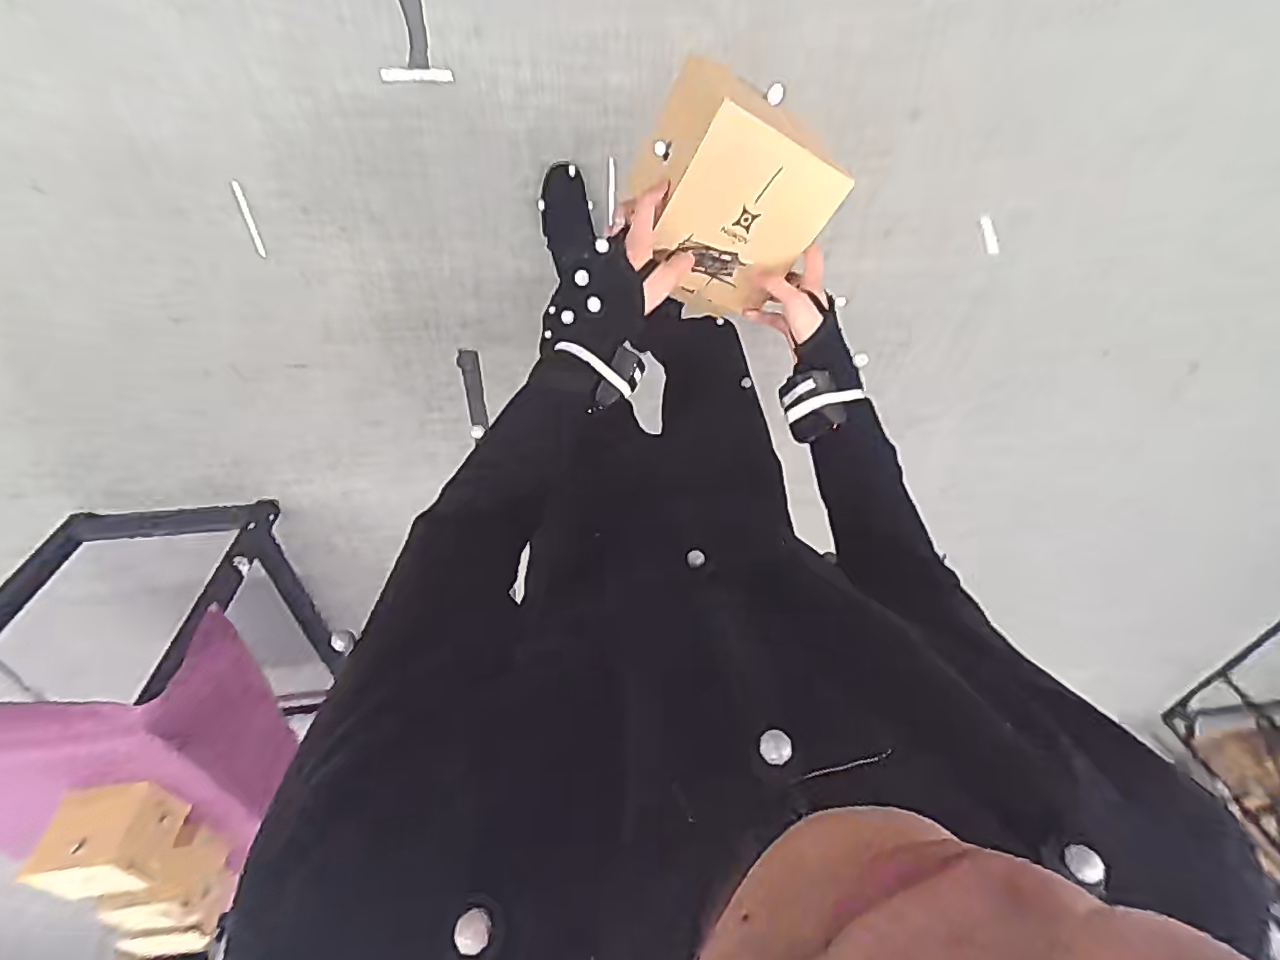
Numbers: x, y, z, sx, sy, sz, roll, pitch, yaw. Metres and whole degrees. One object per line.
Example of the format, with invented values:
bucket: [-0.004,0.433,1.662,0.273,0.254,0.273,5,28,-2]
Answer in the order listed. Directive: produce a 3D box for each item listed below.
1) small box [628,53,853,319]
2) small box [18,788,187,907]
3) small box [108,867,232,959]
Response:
small box: [0.095,-0.322,0.606,0.168,0.176,0.179,14,136,-26]
small box: [-1.184,0.819,1.211,0.179,0.176,0.168,-5,130,-5]
small box: [-1.300,1.214,1.511,0.179,0.176,0.168,-4,130,-7]
